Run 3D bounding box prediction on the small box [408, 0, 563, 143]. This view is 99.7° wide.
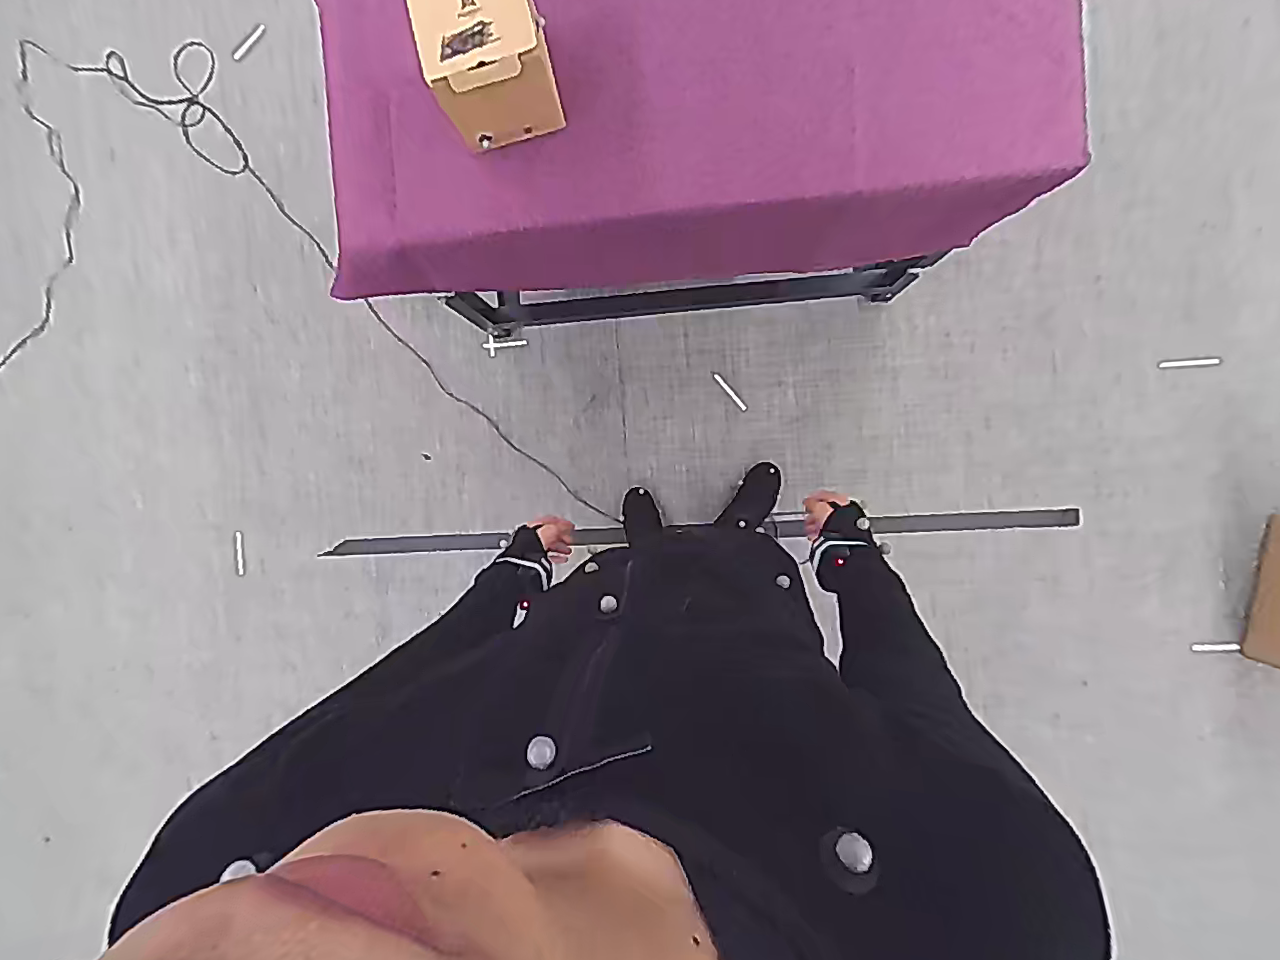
[{"bbox_3d":[-0.225,-0.644,0.812,0.168,0.176,0.179,-13,89,4],"label":"small box"}]
